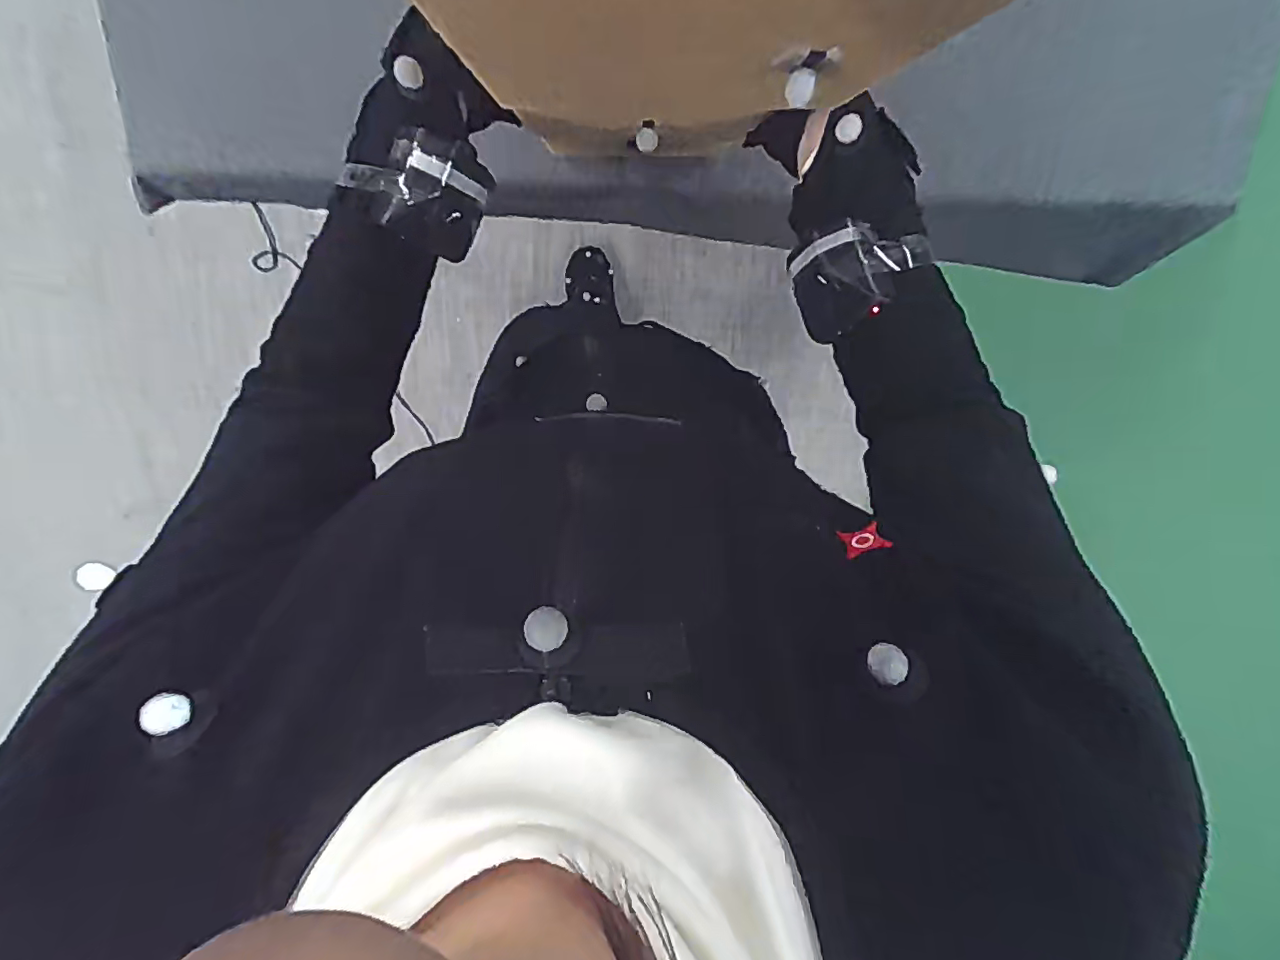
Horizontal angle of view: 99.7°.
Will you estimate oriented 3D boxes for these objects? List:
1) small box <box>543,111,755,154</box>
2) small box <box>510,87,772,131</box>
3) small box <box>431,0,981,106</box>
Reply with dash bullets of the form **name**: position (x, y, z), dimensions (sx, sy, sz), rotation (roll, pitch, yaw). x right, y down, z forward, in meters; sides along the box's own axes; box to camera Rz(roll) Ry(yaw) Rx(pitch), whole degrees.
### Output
- **small box**: position (0.003, -0.390, 0.467), dimensions (0.179, 0.176, 0.168), rotation (0, 114, -2)
- **small box**: position (0.006, -0.319, 0.319), dimensions (0.179, 0.176, 0.168), rotation (-3, 113, -2)
- **small box**: position (0.020, -0.241, 0.177), dimensions (0.179, 0.176, 0.168), rotation (-1, 113, -1)
